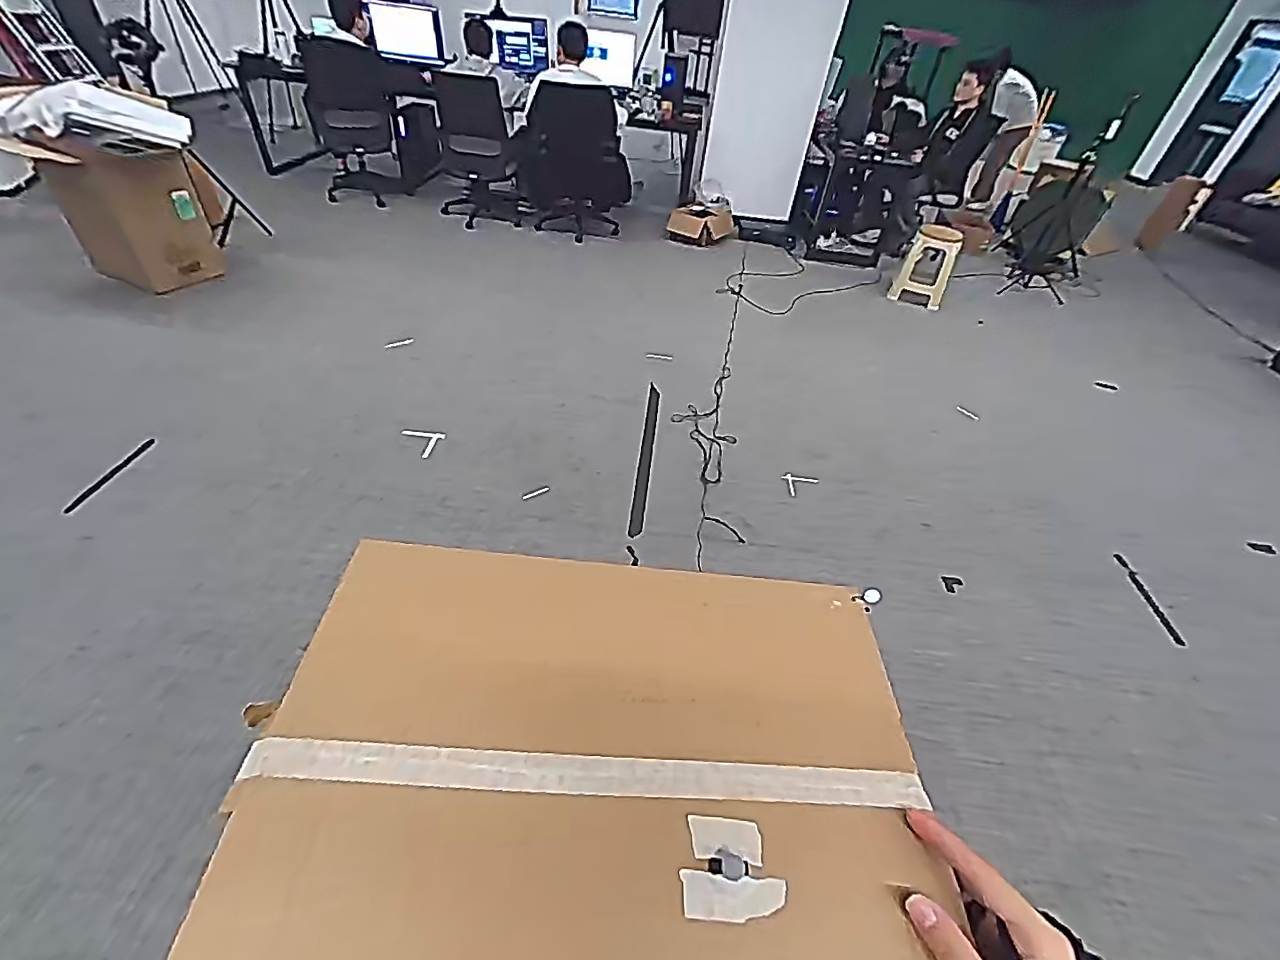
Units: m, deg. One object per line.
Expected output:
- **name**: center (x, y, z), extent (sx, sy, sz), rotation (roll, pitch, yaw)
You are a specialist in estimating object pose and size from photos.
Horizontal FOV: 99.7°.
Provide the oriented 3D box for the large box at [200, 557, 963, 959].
- **large box**: center (-0.040, 0.292, 0.443), extent (0.408, 0.320, 0.320), rotation (7, 46, -7)
